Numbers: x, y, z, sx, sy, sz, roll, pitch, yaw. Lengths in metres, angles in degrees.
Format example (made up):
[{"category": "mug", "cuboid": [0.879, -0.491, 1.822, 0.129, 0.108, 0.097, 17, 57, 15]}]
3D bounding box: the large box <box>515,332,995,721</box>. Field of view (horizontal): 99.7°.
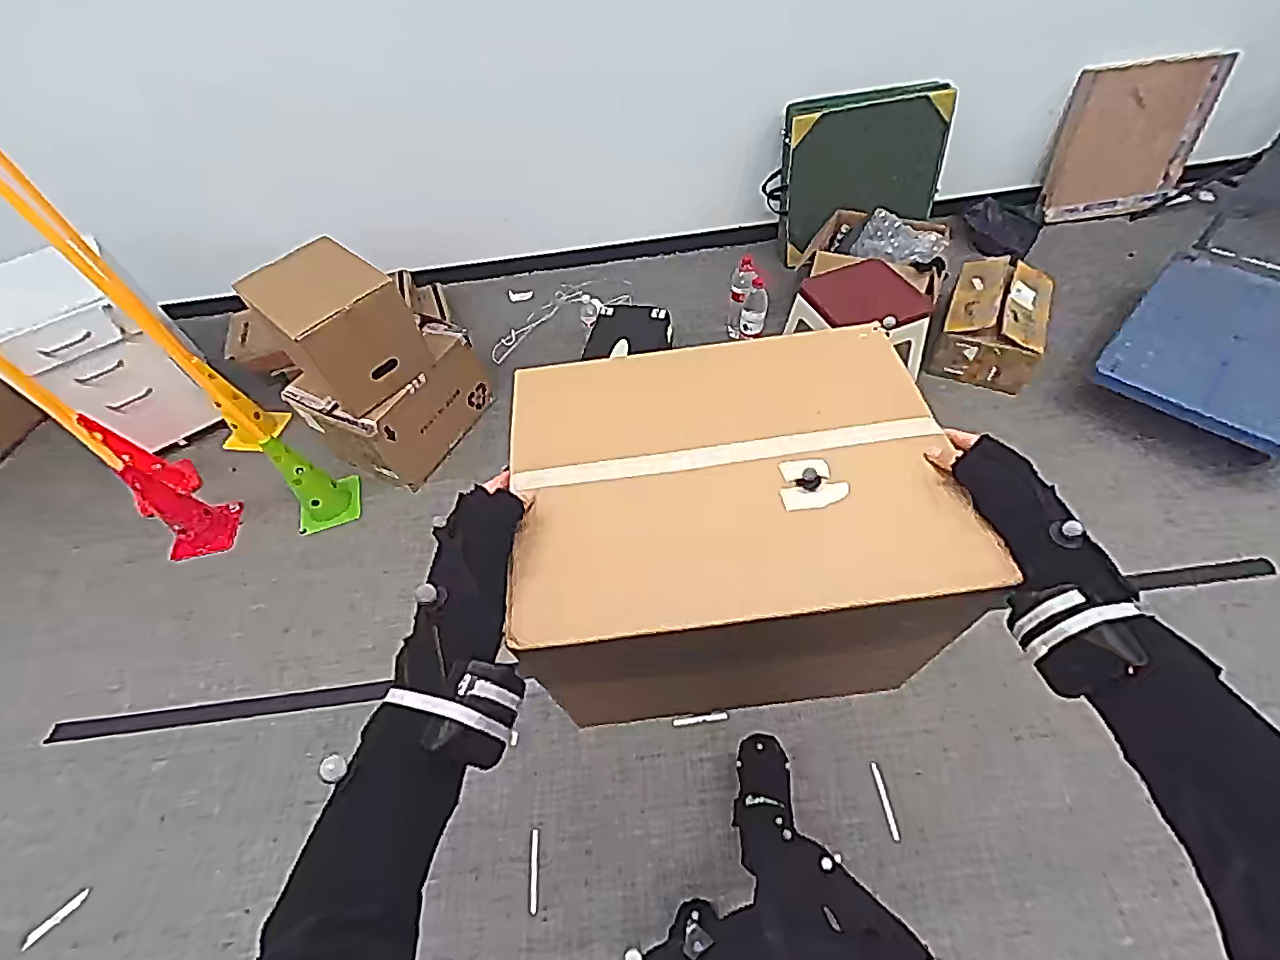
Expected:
[{"category": "large box", "cuboid": [0.088, 0.068, 0.643, 0.408, 0.320, 0.320, -7, 55, 0]}]
